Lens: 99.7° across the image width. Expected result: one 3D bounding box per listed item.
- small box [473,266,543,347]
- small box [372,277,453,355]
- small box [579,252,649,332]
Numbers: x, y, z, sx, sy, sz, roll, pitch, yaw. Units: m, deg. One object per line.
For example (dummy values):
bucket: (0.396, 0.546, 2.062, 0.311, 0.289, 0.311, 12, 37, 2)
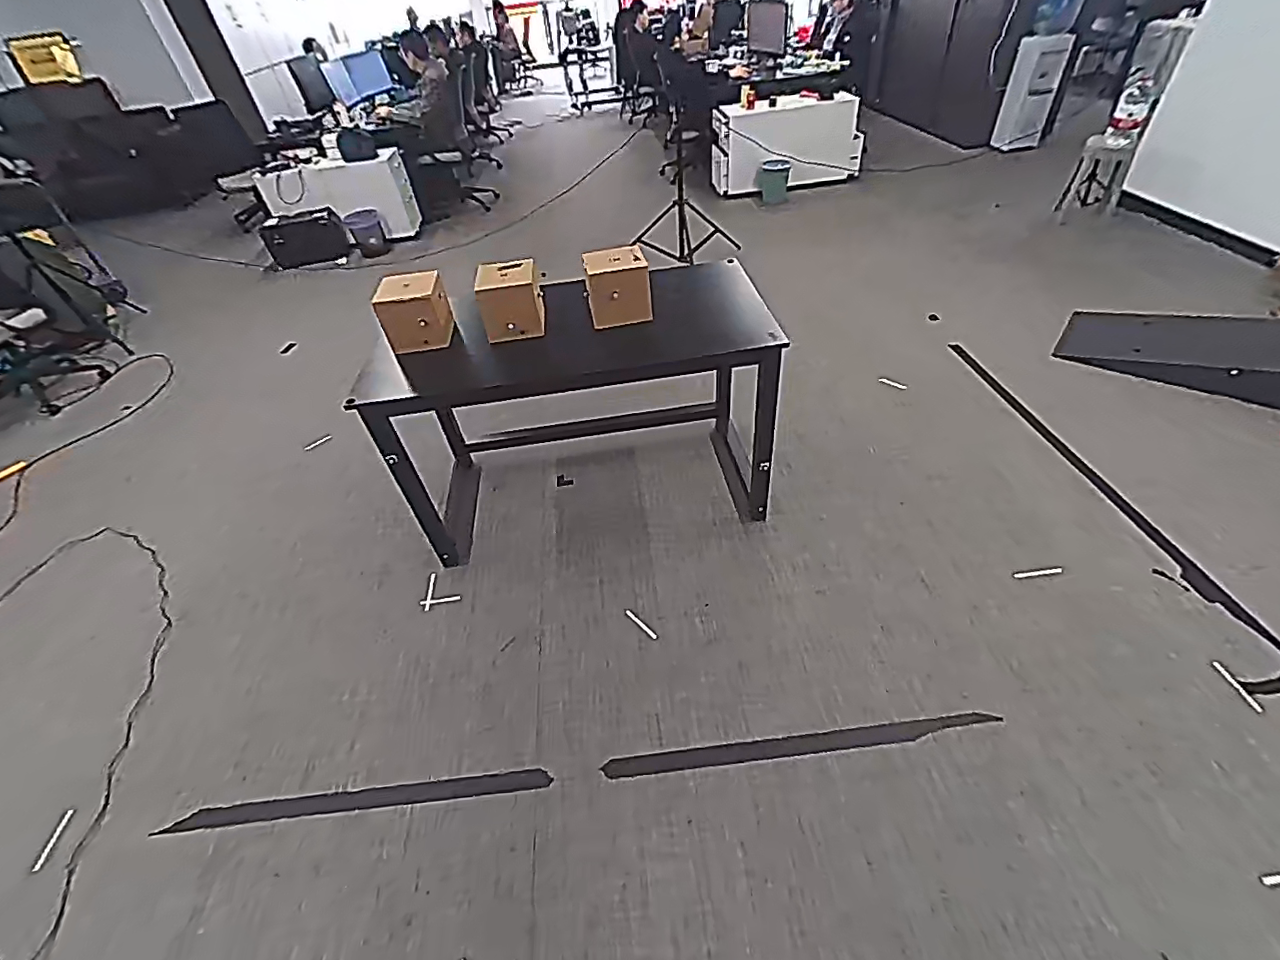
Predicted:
small box: (-0.392, -0.523, 1.629, 0.168, 0.176, 0.179, -9, 44, -2)
small box: (-0.677, -0.488, 1.629, 0.168, 0.176, 0.179, -8, 42, -4)
small box: (-0.076, -0.564, 1.633, 0.179, 0.176, 0.168, -12, 44, -4)
